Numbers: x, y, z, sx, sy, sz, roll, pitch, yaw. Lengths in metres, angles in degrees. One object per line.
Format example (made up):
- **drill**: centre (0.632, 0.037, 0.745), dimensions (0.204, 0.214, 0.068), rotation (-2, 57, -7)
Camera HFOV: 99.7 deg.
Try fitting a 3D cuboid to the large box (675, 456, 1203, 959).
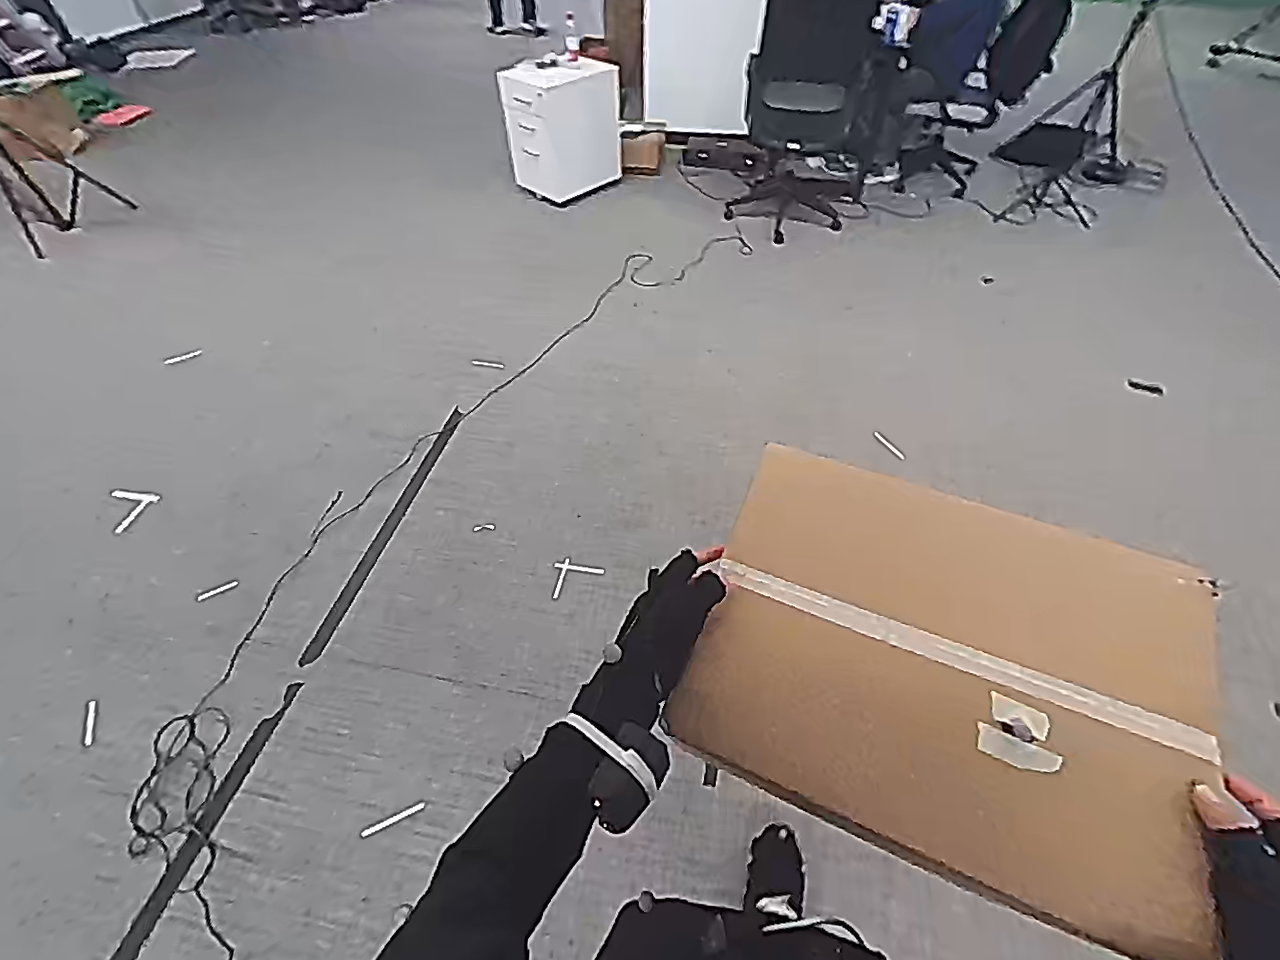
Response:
- **large box**: centre (0.281, 0.226, 0.618), dimensions (0.408, 0.320, 0.320), rotation (19, 66, 16)
